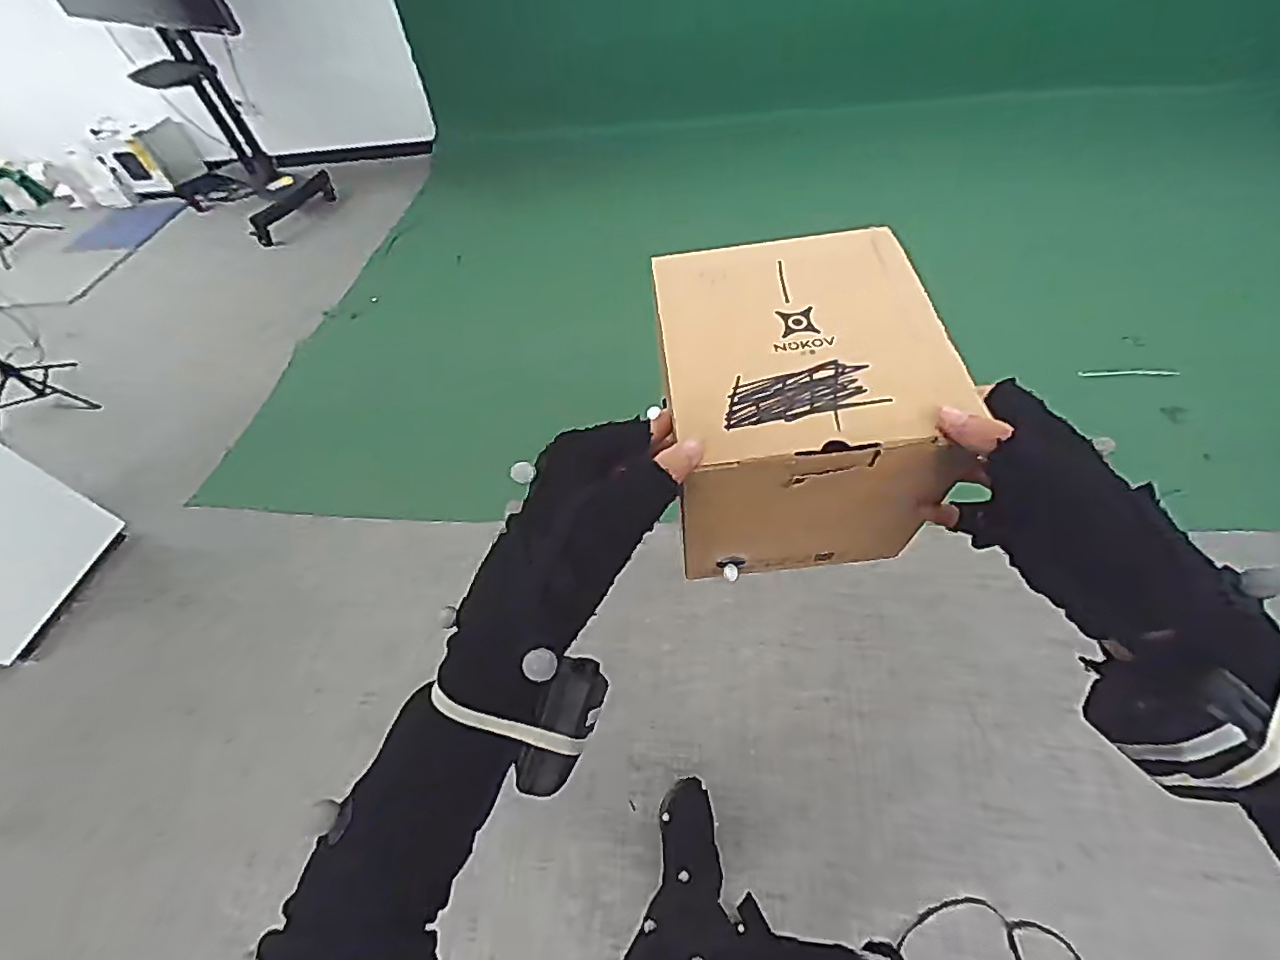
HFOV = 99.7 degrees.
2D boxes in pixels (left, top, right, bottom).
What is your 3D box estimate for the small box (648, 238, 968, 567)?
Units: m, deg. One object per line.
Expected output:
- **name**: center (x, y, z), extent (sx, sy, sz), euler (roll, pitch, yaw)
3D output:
- **small box**: center (0.099, -0.044, 0.403), extent (0.168, 0.176, 0.179), euler (-6, 59, 2)
